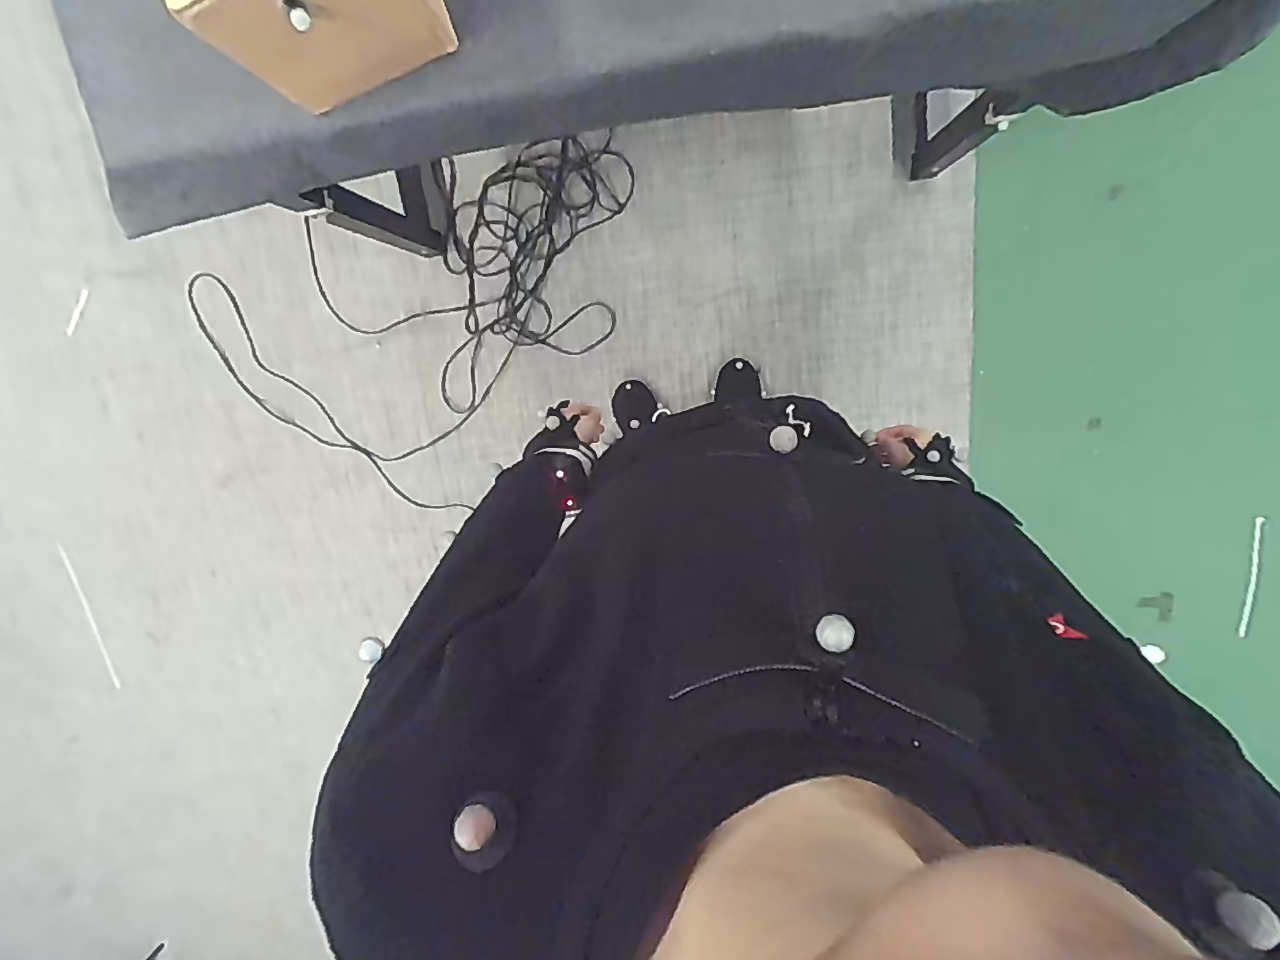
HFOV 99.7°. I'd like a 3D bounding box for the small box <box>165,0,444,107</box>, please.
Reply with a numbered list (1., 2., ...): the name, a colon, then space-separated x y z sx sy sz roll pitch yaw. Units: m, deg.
1. small box: -0.293 -0.468 0.462 0.179 0.176 0.168 -18 100 9
